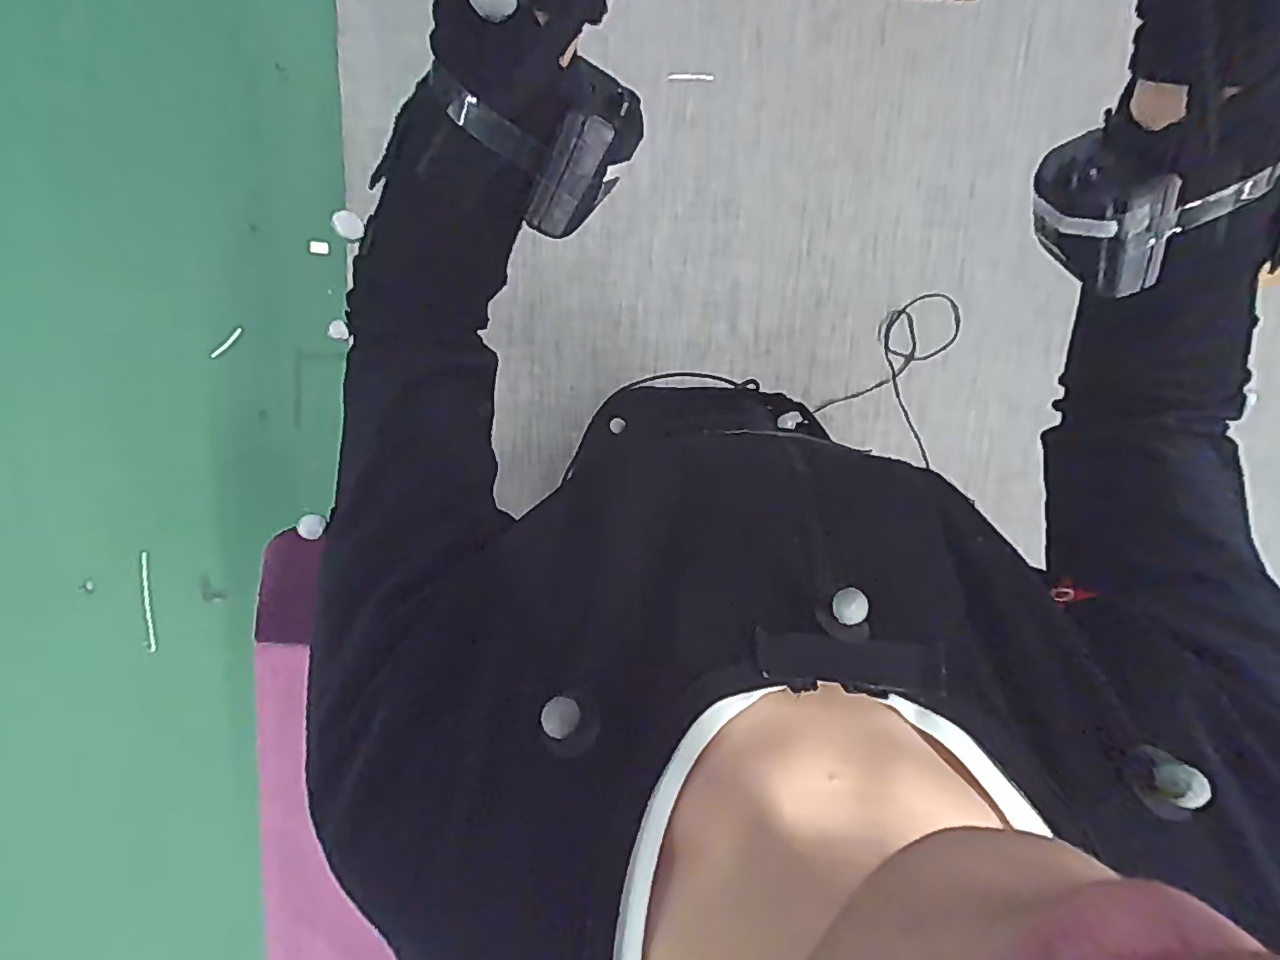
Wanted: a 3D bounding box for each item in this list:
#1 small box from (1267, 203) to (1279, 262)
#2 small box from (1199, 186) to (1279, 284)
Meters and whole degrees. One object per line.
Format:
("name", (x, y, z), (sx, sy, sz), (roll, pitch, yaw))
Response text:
("small box", (1.443, -0.535, 1.076), (0.179, 0.176, 0.168), (2, 99, 1))
("small box", (1.452, -0.560, 1.238), (0.168, 0.176, 0.179), (3, 99, 2))
